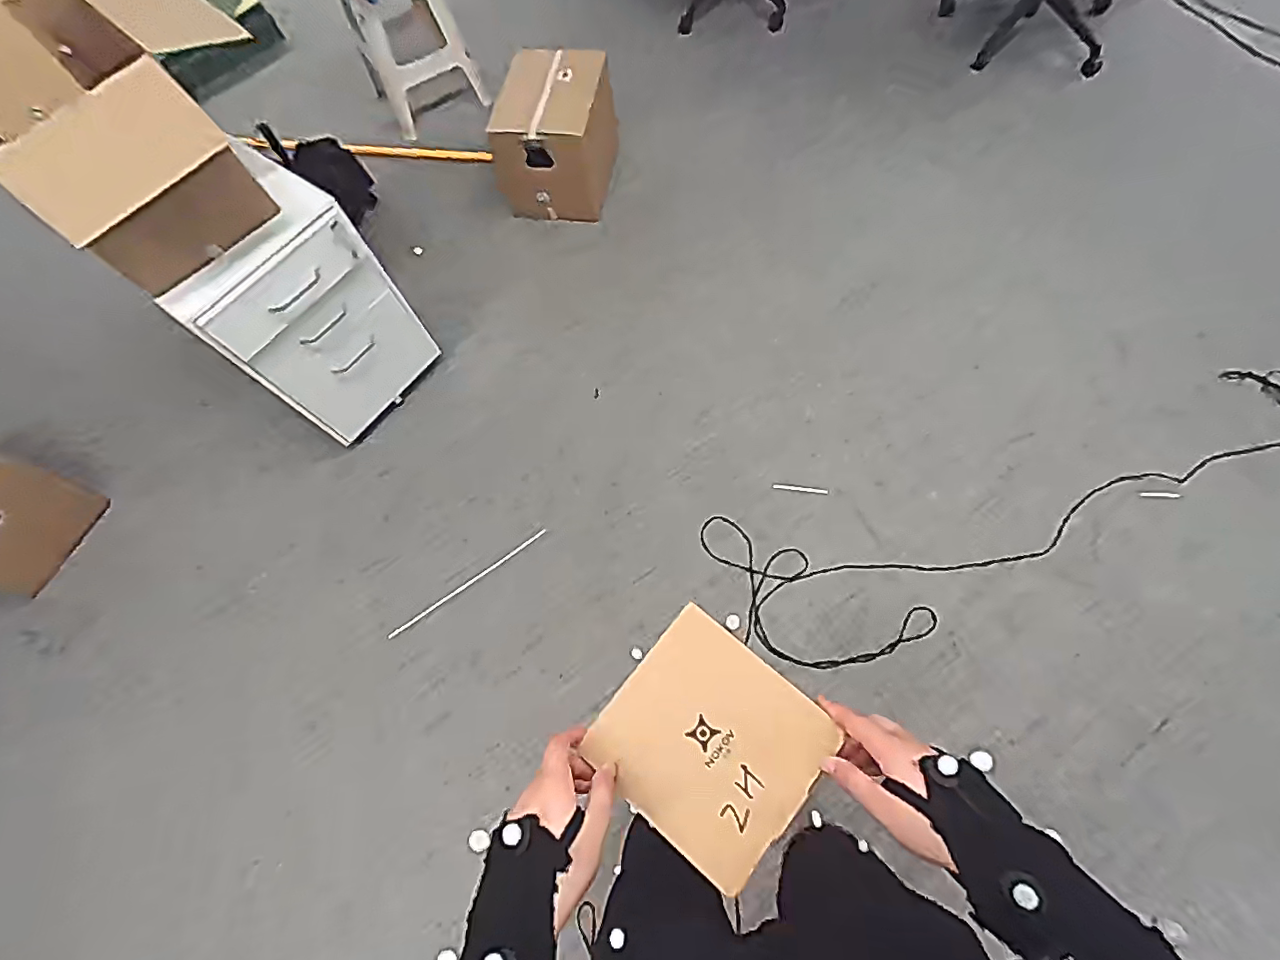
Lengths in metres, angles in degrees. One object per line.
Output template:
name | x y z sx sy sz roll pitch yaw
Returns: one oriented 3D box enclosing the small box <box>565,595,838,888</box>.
small box | 0.057 0.236 0.538 0.179 0.176 0.168 39 83 13
